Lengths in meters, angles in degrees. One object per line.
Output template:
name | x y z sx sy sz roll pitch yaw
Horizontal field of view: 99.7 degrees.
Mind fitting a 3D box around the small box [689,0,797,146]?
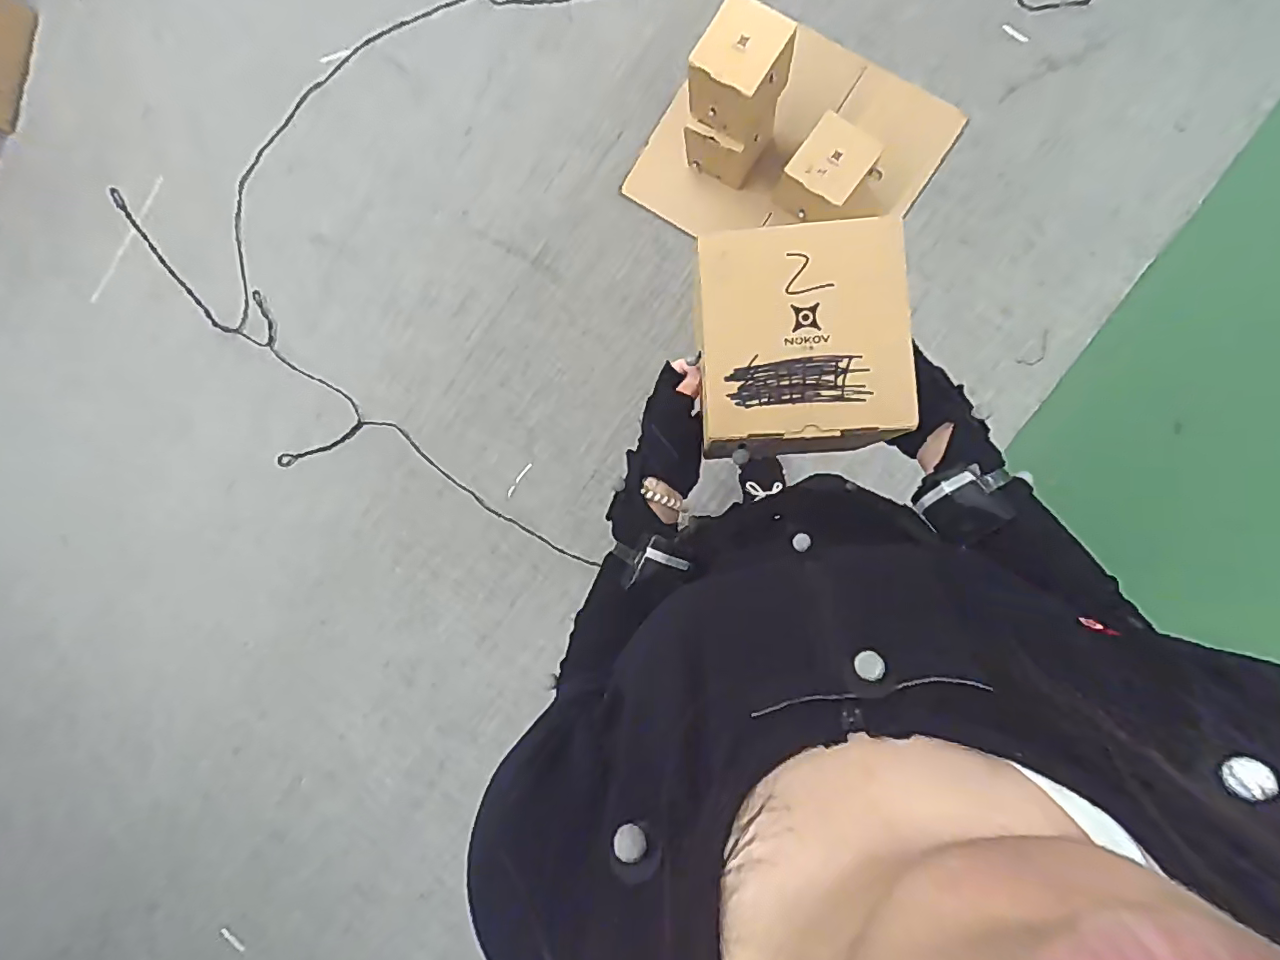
small box | 0.225 -0.911 1.218 0.168 0.176 0.179 34 94 7

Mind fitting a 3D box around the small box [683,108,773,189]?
small box | 0.229 -0.890 1.382 0.168 0.176 0.179 32 94 7

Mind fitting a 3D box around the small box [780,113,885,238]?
small box | 0.468 -0.749 1.350 0.168 0.176 0.179 38 96 7
